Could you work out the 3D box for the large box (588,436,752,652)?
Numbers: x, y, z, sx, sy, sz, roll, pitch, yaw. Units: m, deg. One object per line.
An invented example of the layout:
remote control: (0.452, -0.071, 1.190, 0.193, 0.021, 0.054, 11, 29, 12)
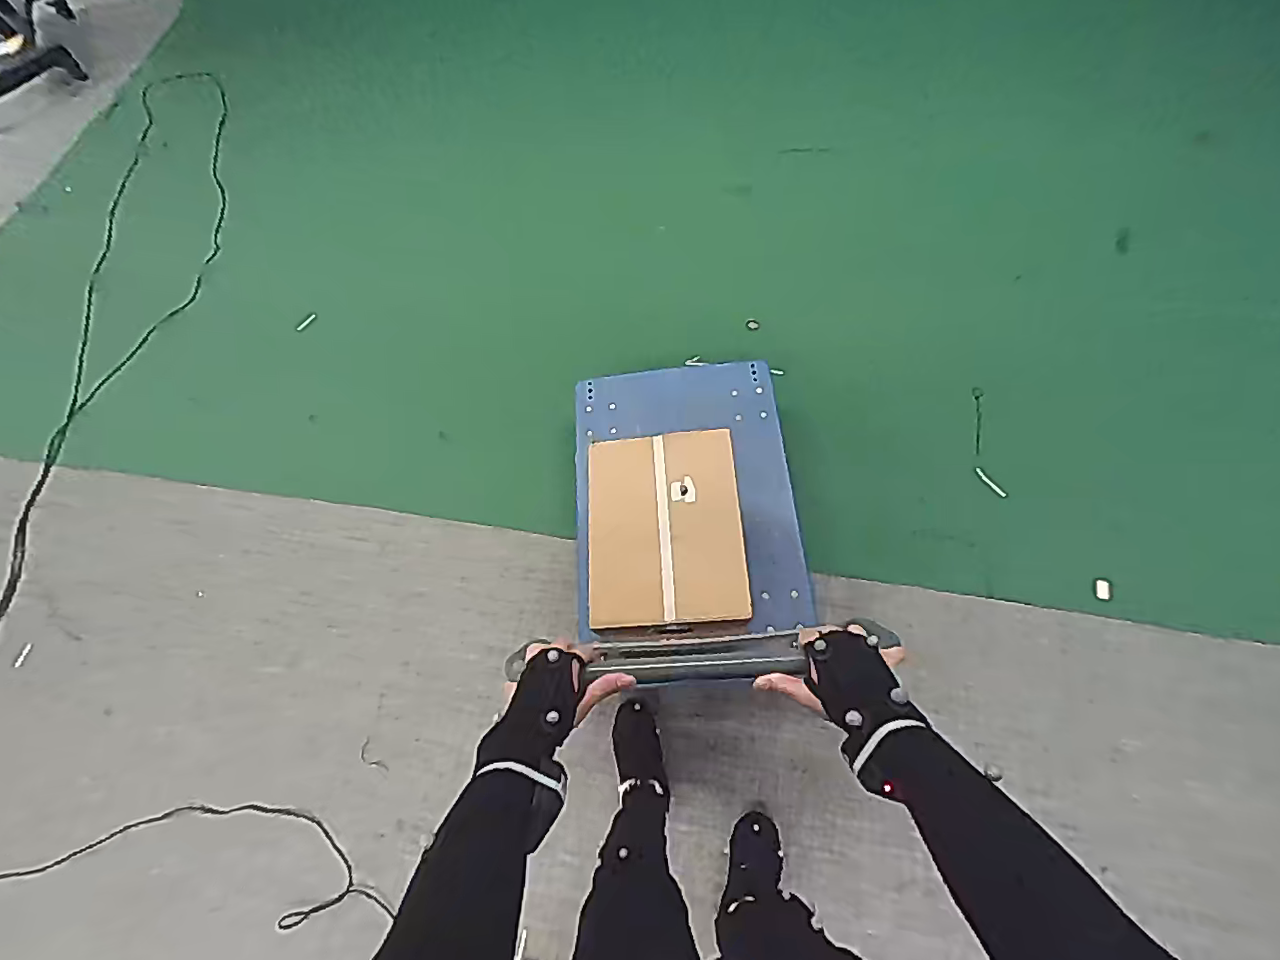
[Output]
large box: (0.067, 0.161, 1.242, 0.320, 0.320, 0.408, -5, 65, 5)
